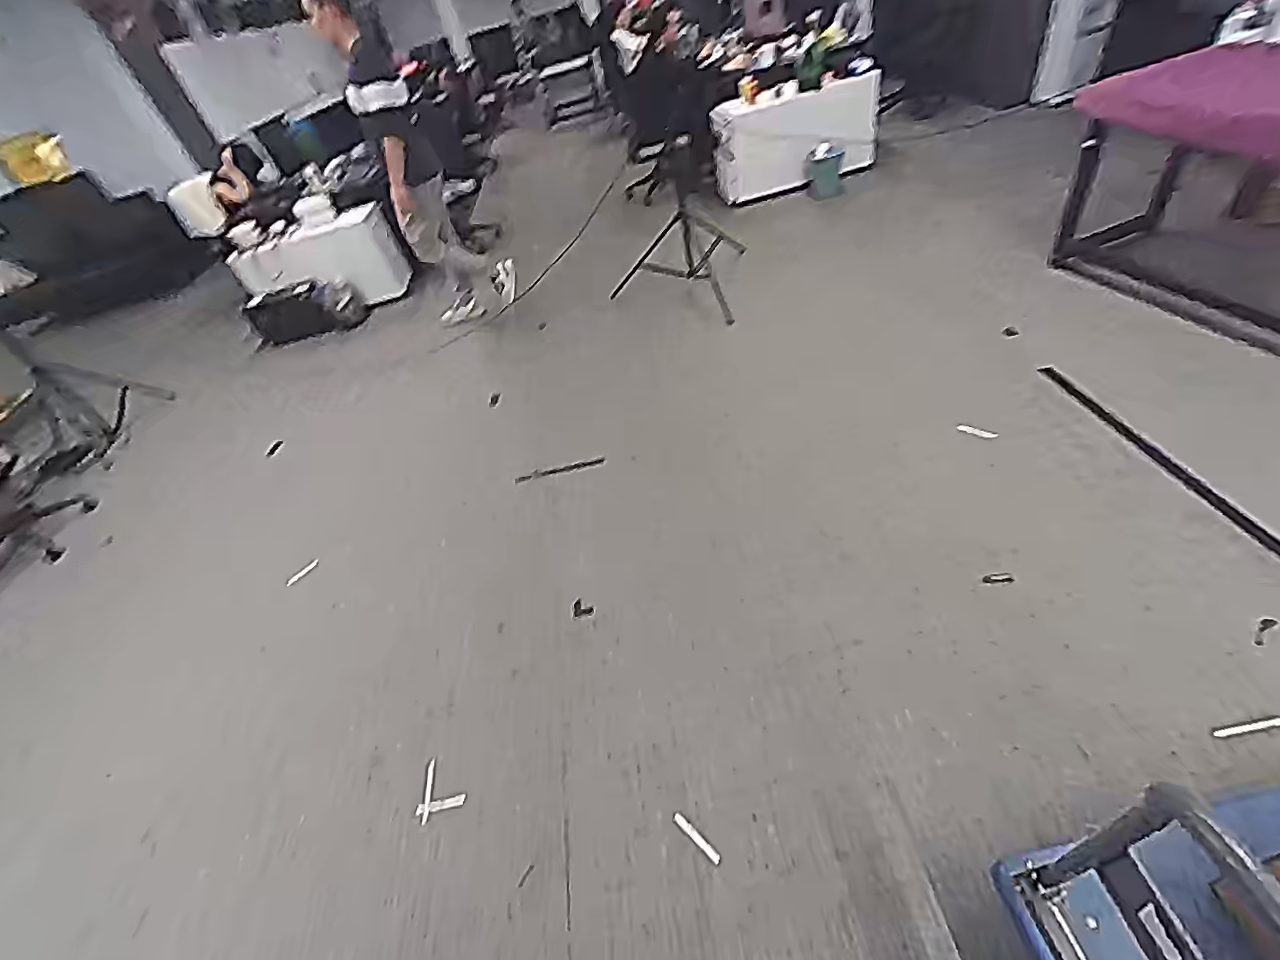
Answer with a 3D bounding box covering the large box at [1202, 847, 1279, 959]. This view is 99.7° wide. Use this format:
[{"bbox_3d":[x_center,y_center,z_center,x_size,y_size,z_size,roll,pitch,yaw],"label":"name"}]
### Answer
[{"bbox_3d":[1.111,0.692,0.689,0.320,0.320,0.408,-14,42,2],"label":"large box"}]
